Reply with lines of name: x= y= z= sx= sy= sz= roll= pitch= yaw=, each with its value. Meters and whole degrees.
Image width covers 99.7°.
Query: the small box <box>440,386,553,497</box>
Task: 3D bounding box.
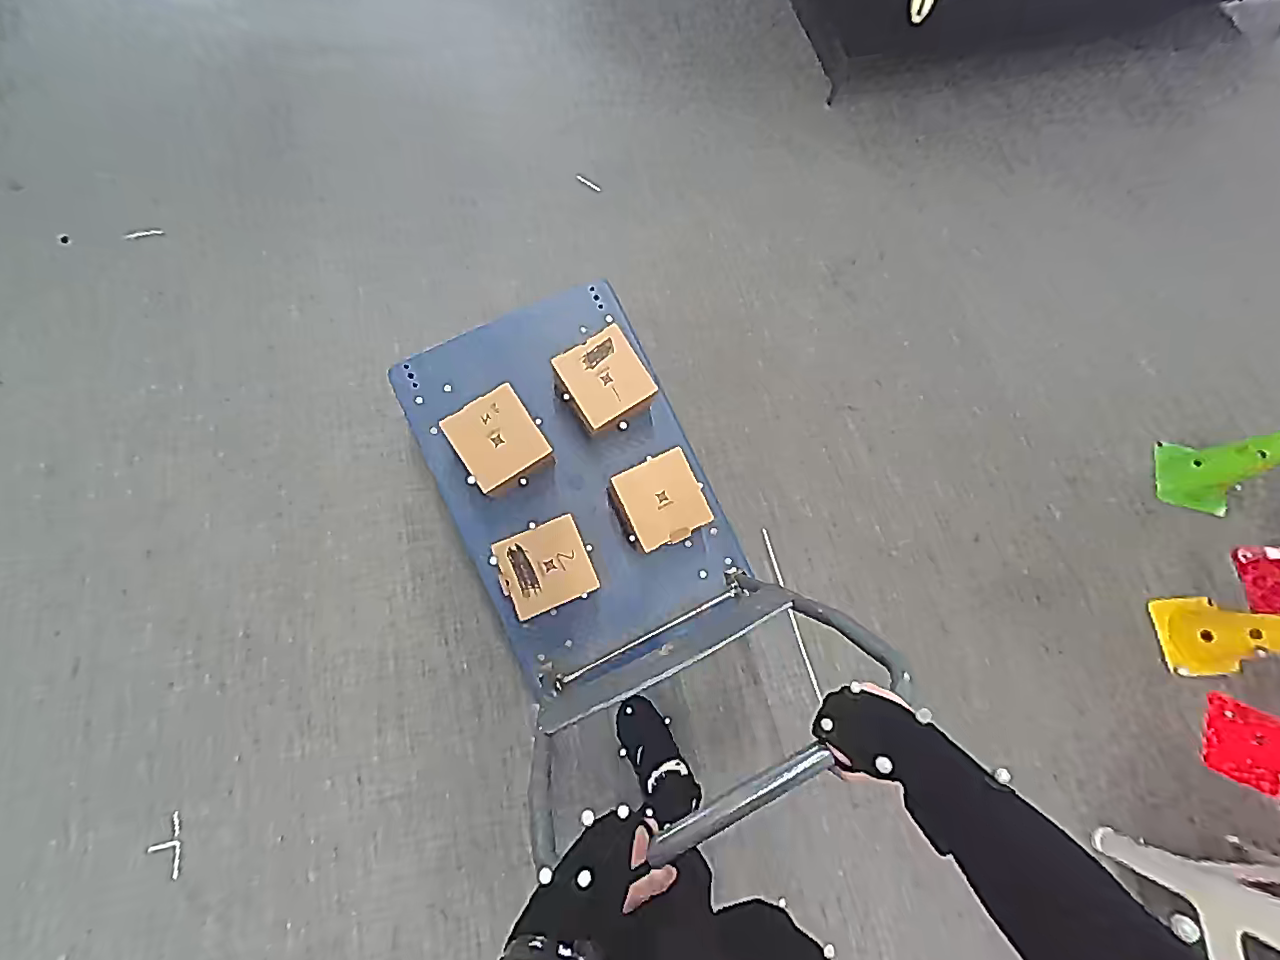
small box: x=-0.303 y=-0.075 z=1.185 sx=0.168 sy=0.176 sz=0.179 roll=-33 pitch=88 yaw=-9

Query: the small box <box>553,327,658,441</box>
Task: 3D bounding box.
small box: x=-0.083 y=-0.209 z=1.225 sx=0.168 sy=0.176 sz=0.179 roll=-32 pitch=89 yaw=-8

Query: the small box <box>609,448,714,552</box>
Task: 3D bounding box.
small box: x=0.039 y=0.050 z=1.212 sx=0.168 sy=0.176 sz=0.179 roll=-25 pitch=88 yaw=-8
